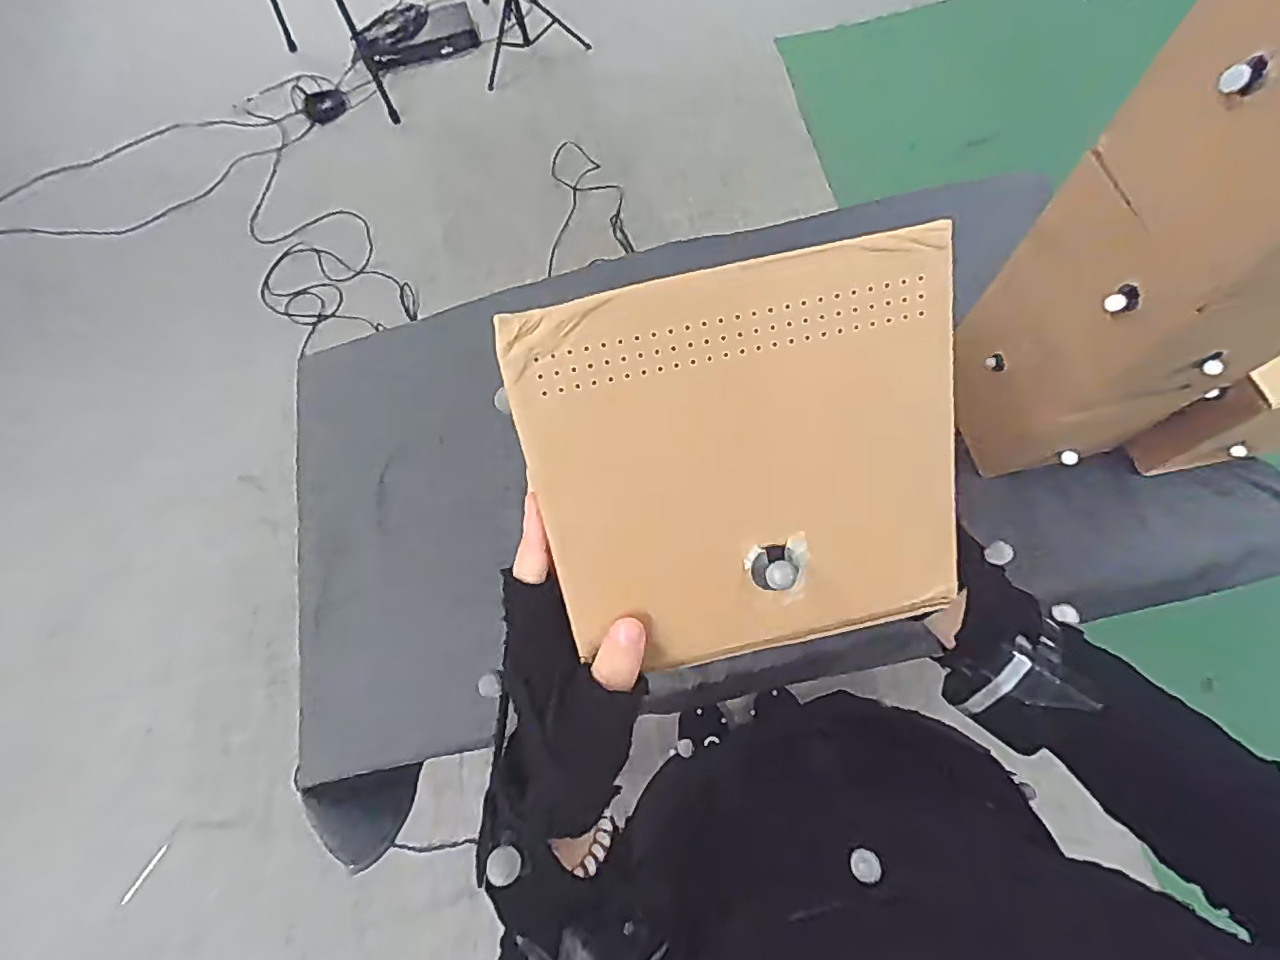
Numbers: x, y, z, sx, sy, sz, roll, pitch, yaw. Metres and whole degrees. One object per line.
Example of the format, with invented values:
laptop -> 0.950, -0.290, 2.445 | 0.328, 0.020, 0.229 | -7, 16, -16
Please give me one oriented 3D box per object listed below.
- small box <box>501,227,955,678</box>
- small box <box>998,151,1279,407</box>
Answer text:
small box -> 0.040, -0.028, 0.298 | 0.179, 0.168, 0.176 | -12, 107, -2
small box -> 0.477, -0.182, 0.494 | 0.168, 0.176, 0.179 | -11, 68, 3
